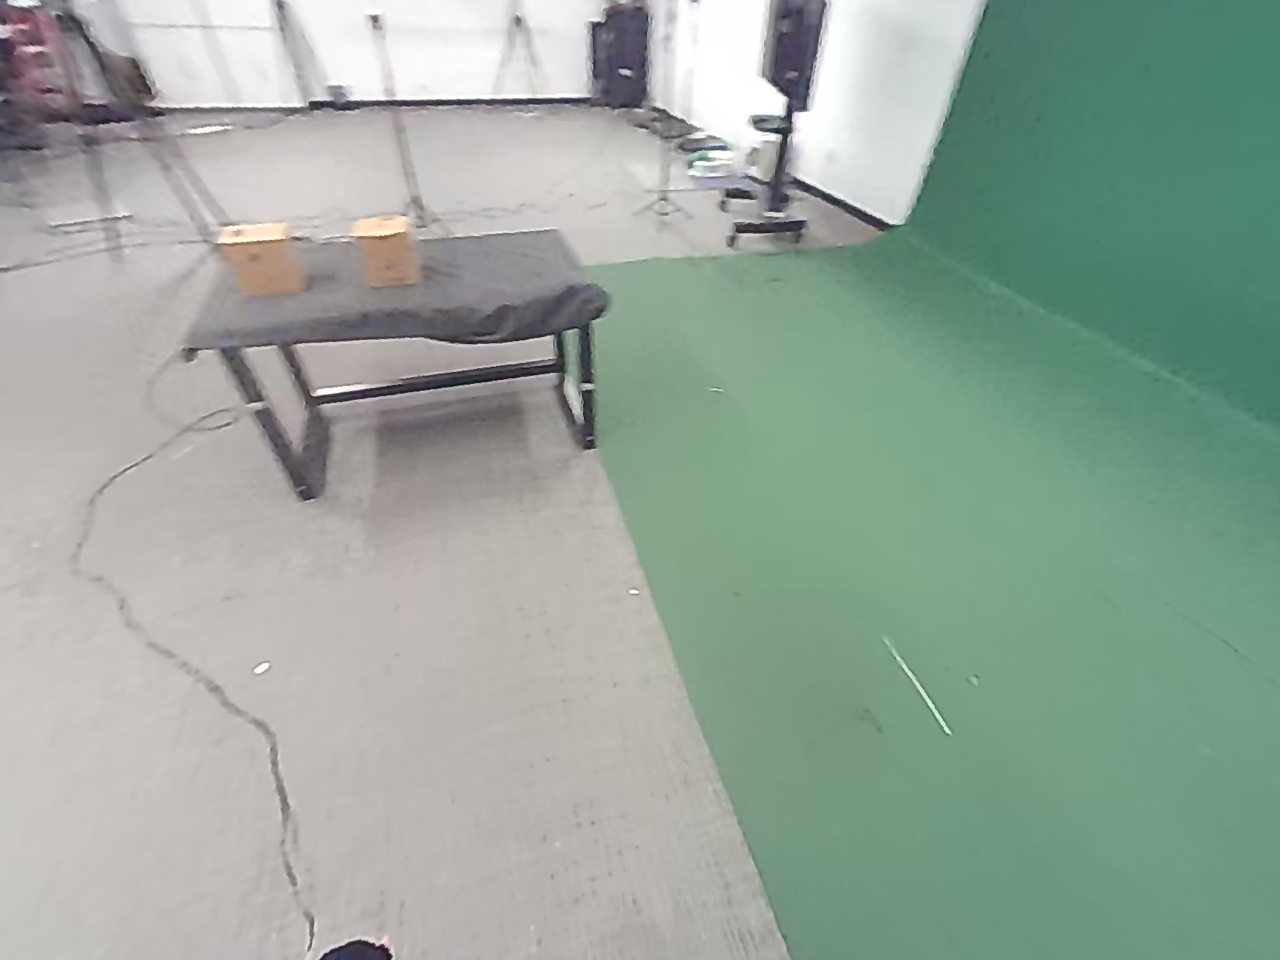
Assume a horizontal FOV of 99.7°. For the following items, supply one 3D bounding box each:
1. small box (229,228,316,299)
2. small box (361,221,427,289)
[{"bbox_3d":[-1.183,-0.699,1.752,0.179,0.176,0.168,-12,44,-17],"label":"small box"},{"bbox_3d":[-0.828,-0.760,1.837,0.168,0.176,0.179,-10,44,-13],"label":"small box"}]
